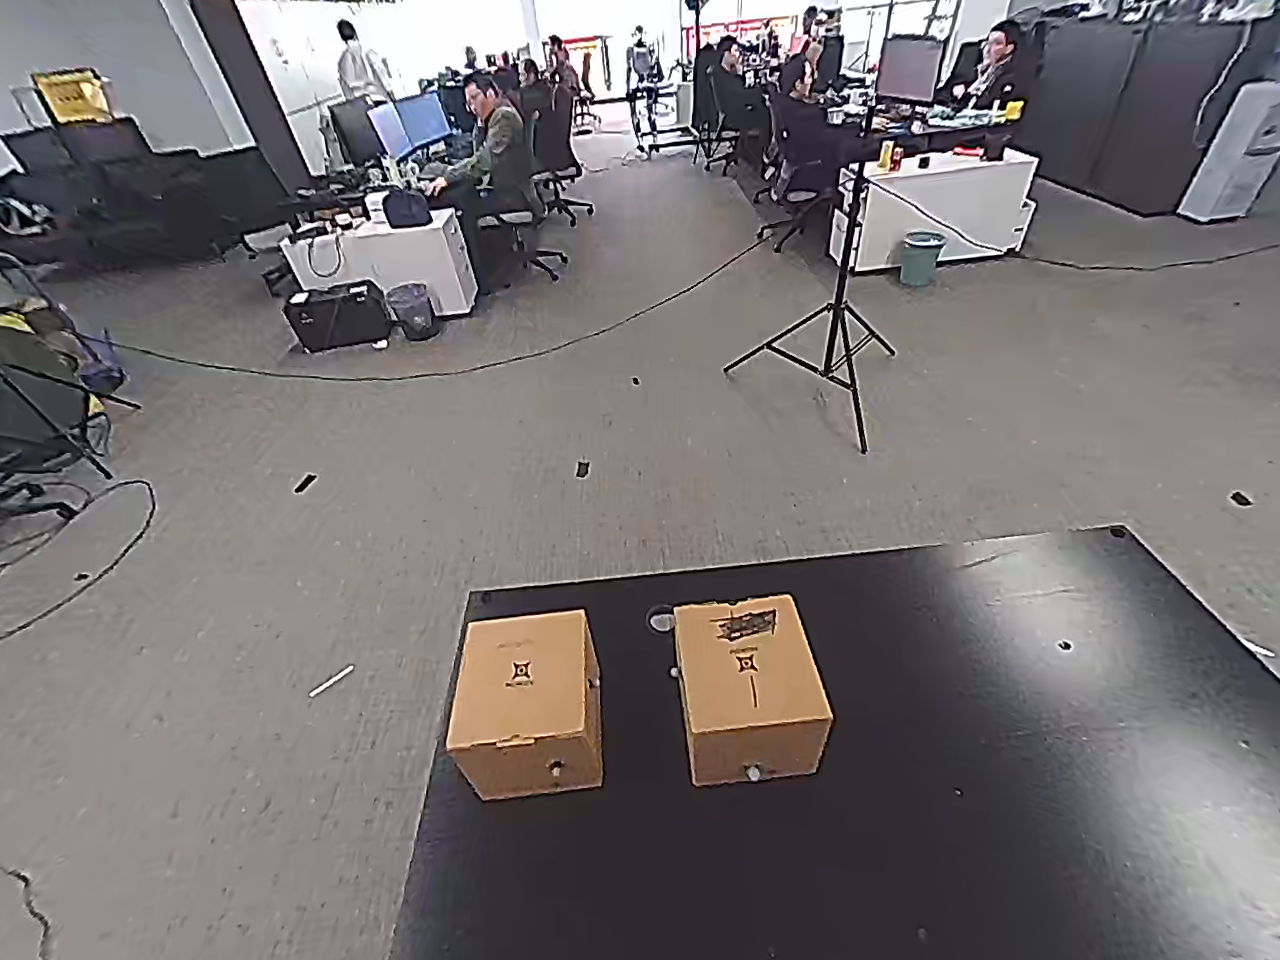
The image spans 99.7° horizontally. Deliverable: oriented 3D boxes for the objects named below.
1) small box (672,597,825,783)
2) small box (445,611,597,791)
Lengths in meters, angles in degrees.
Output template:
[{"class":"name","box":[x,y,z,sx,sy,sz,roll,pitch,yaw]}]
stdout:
[{"class":"small box","box":[0.135,0.287,0.742,0.168,0.176,0.179,-6,42,0]},{"class":"small box","box":[-0.151,0.311,0.752,0.168,0.176,0.179,-6,40,-2]}]
